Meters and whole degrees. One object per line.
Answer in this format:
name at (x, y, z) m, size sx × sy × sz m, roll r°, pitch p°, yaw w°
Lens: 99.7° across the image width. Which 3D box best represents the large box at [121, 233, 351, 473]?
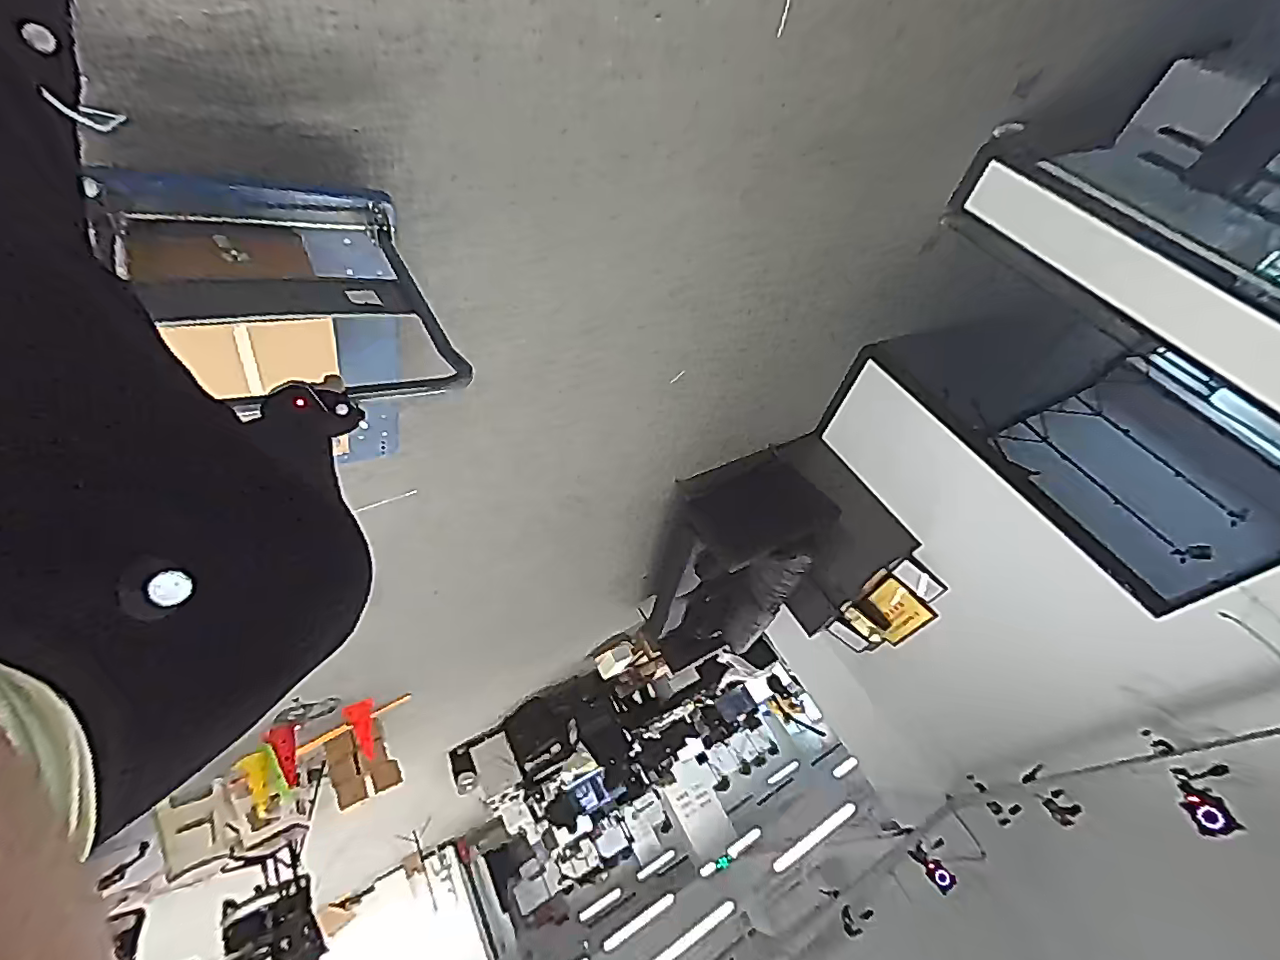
large box at (-0.873, -0.285, 1.209) m, size 0.320 × 0.320 × 0.408 m, roll -15°, pitch 147°, yaw -32°
